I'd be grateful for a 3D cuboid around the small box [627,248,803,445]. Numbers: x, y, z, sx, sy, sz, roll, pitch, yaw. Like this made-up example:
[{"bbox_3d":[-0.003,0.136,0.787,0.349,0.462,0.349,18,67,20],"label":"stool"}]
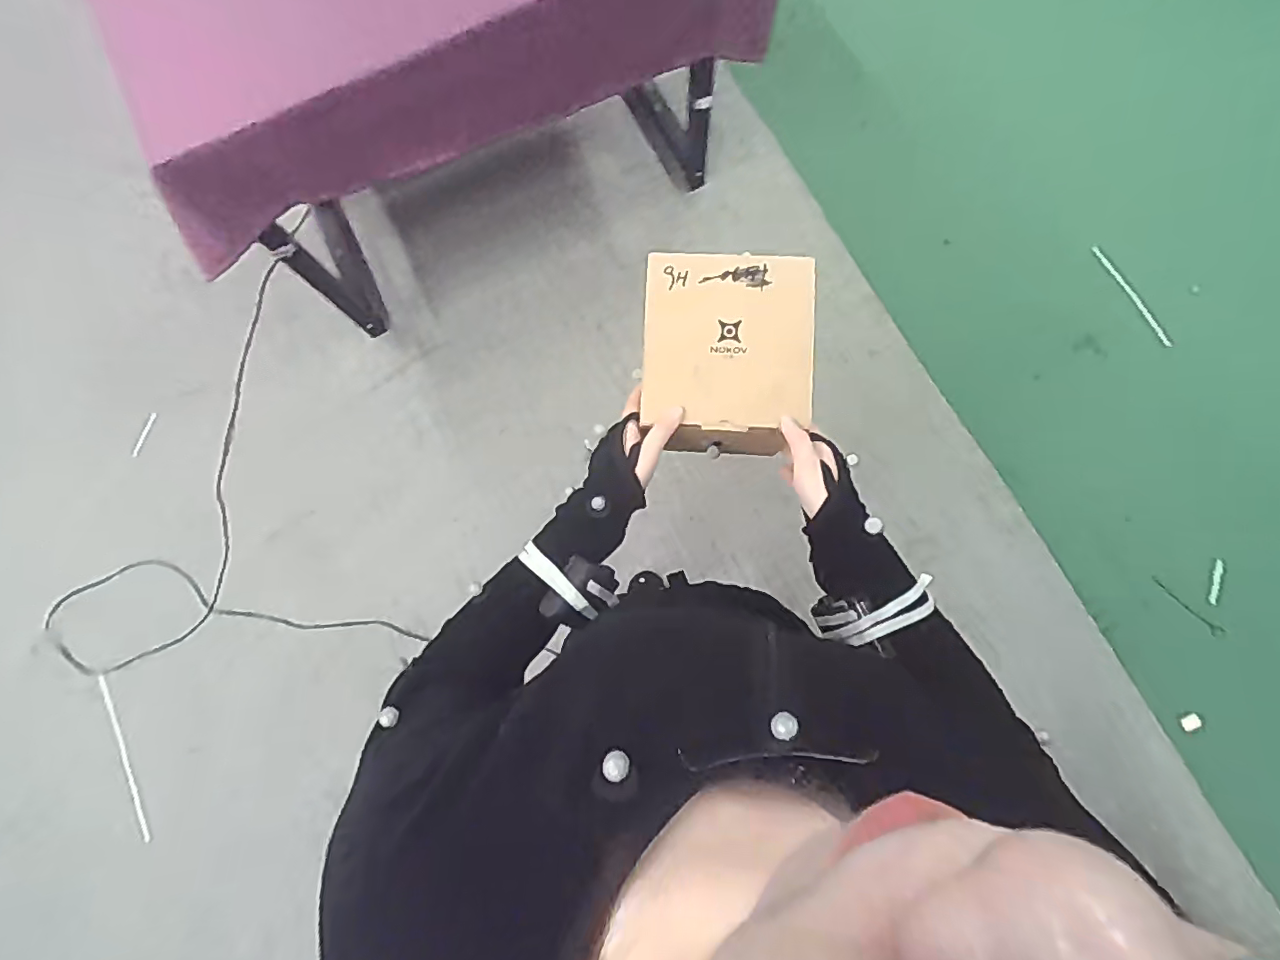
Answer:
[{"bbox_3d":[0.078,-0.134,0.603,0.168,0.176,0.179,2,86,3],"label":"small box"}]
